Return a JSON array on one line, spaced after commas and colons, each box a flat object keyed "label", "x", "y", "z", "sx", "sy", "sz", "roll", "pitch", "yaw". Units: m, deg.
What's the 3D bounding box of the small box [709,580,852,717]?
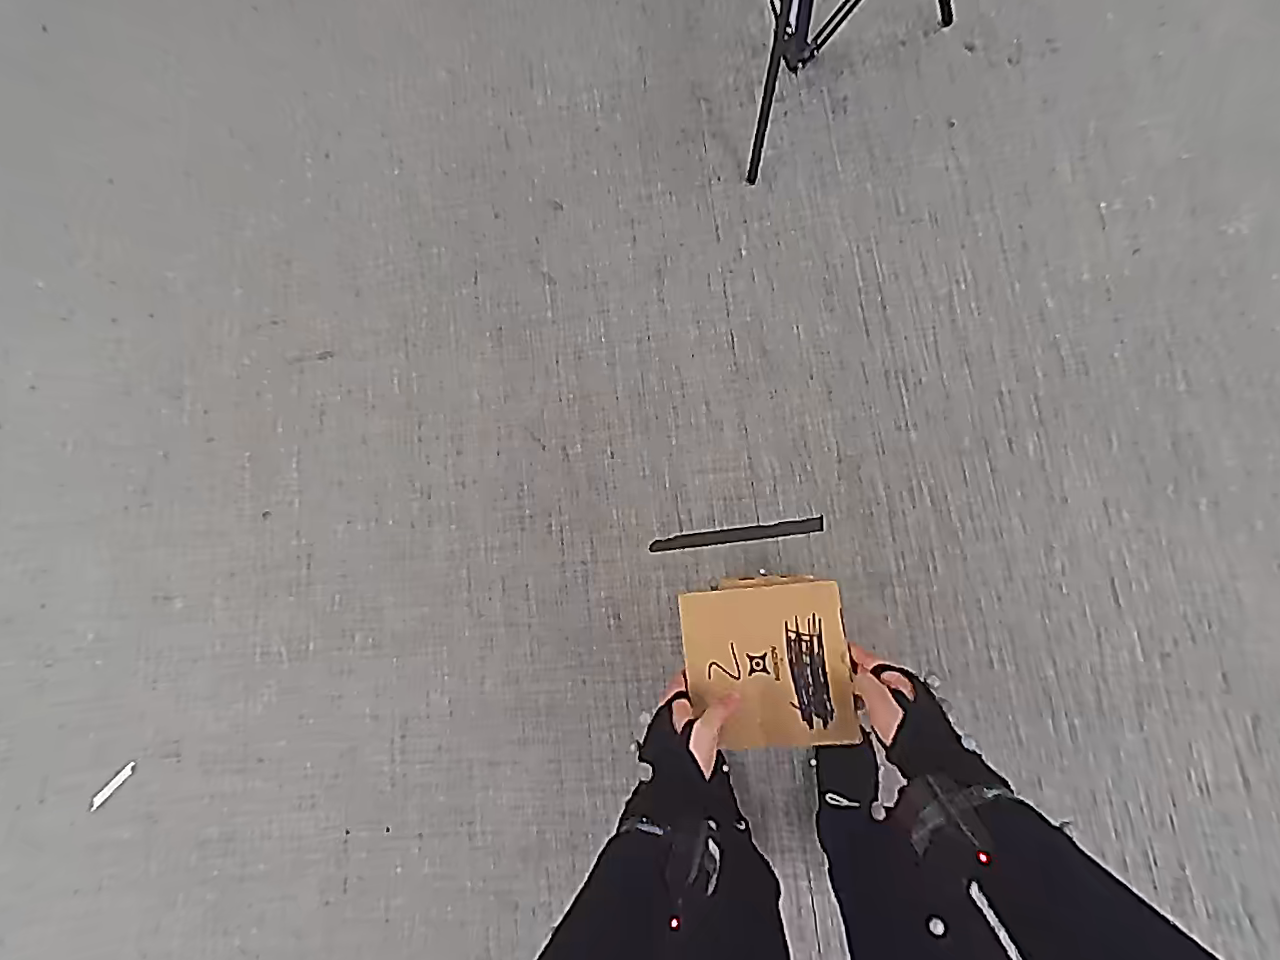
[{"label": "small box", "x": 0.212, "y": 0.257, "z": 0.860, "sx": 0.179, "sy": 0.176, "sz": 0.168, "roll": -13, "pitch": 79, "yaw": 7}]

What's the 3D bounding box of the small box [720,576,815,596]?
[{"label": "small box", "x": 0.241, "y": 0.273, "z": 1.020, "sx": 0.168, "sy": 0.176, "sz": 0.179, "roll": -4, "pitch": 79, "yaw": 8}]
